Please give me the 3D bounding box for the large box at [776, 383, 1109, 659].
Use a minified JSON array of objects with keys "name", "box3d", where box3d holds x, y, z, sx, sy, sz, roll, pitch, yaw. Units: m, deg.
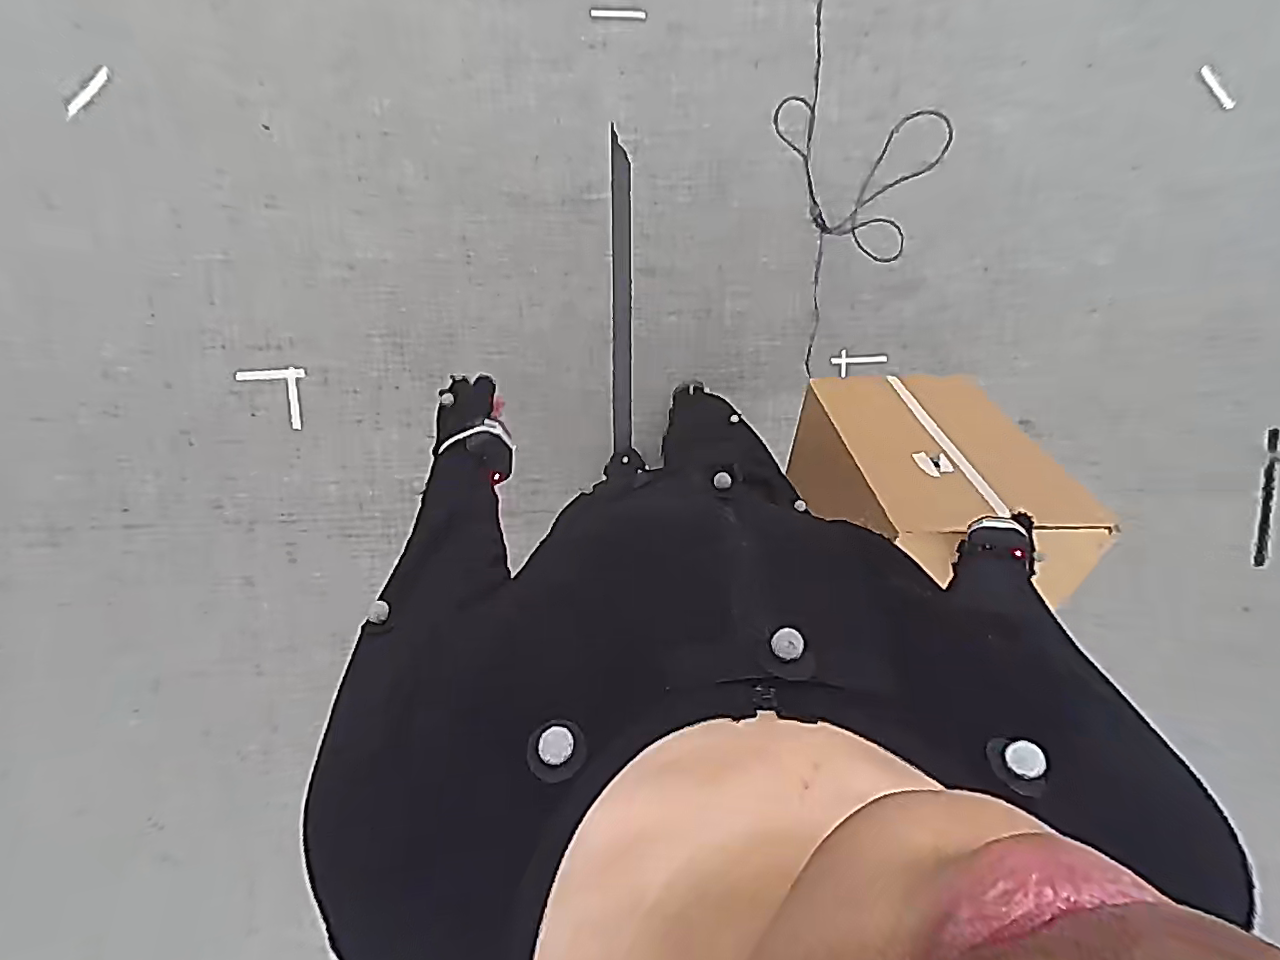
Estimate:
[{"name":"large box","box3d":[0.474,0.061,0.977,0.320,0.408,0.320,-1,131,-4]}]
